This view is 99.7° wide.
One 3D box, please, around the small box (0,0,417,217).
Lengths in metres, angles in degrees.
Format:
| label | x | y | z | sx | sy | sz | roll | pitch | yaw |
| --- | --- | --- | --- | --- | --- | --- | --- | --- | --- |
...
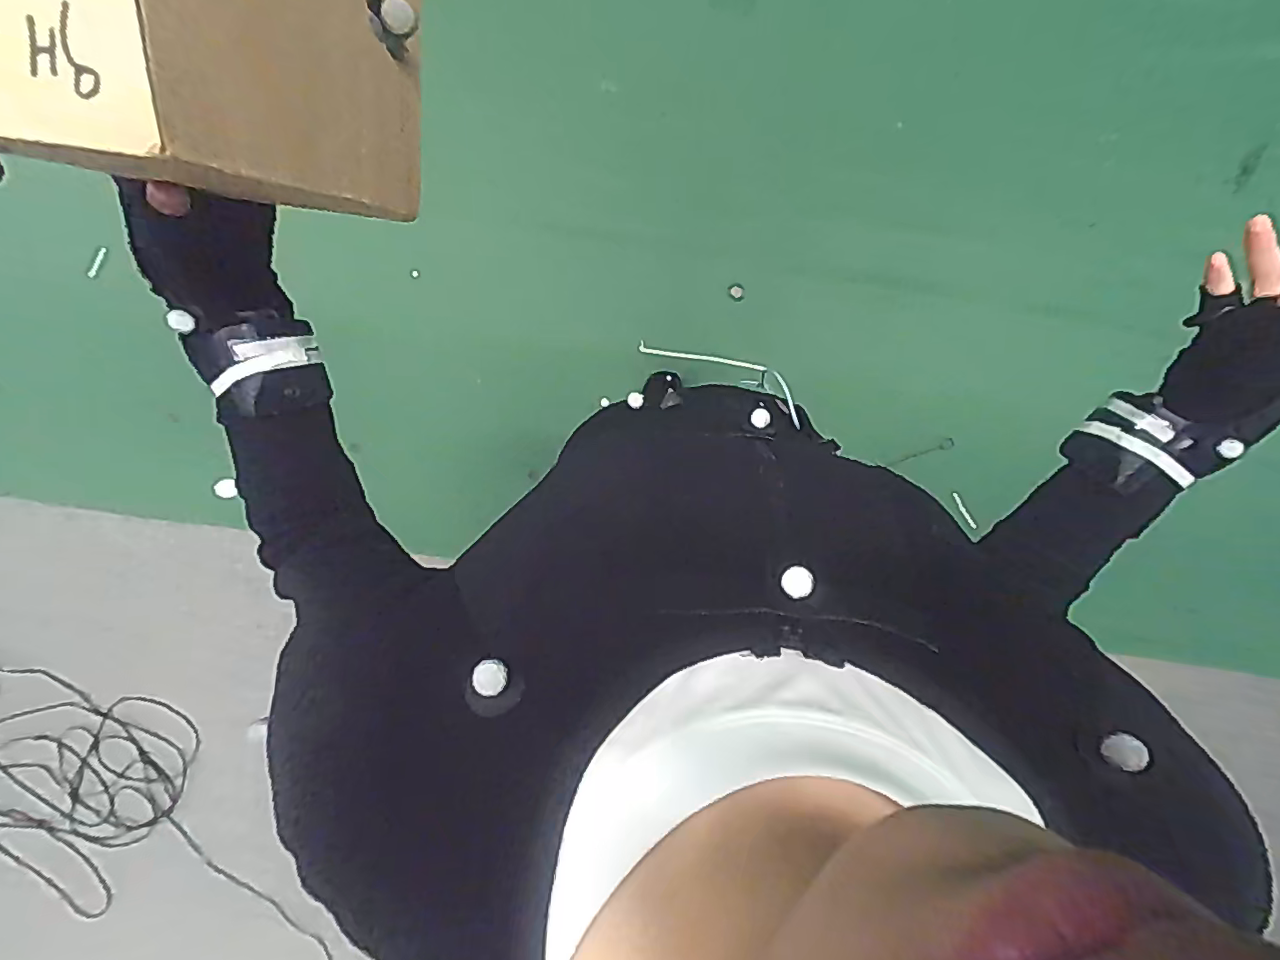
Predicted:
| label | x | y | z | sx | sy | sz | roll | pitch | yaw |
| --- | --- | --- | --- | --- | --- | --- | --- | --- | --- |
| small box | -0.209 | -0.224 | 0.219 | 0.168 | 0.176 | 0.179 | 11 | 110 | 5 |
